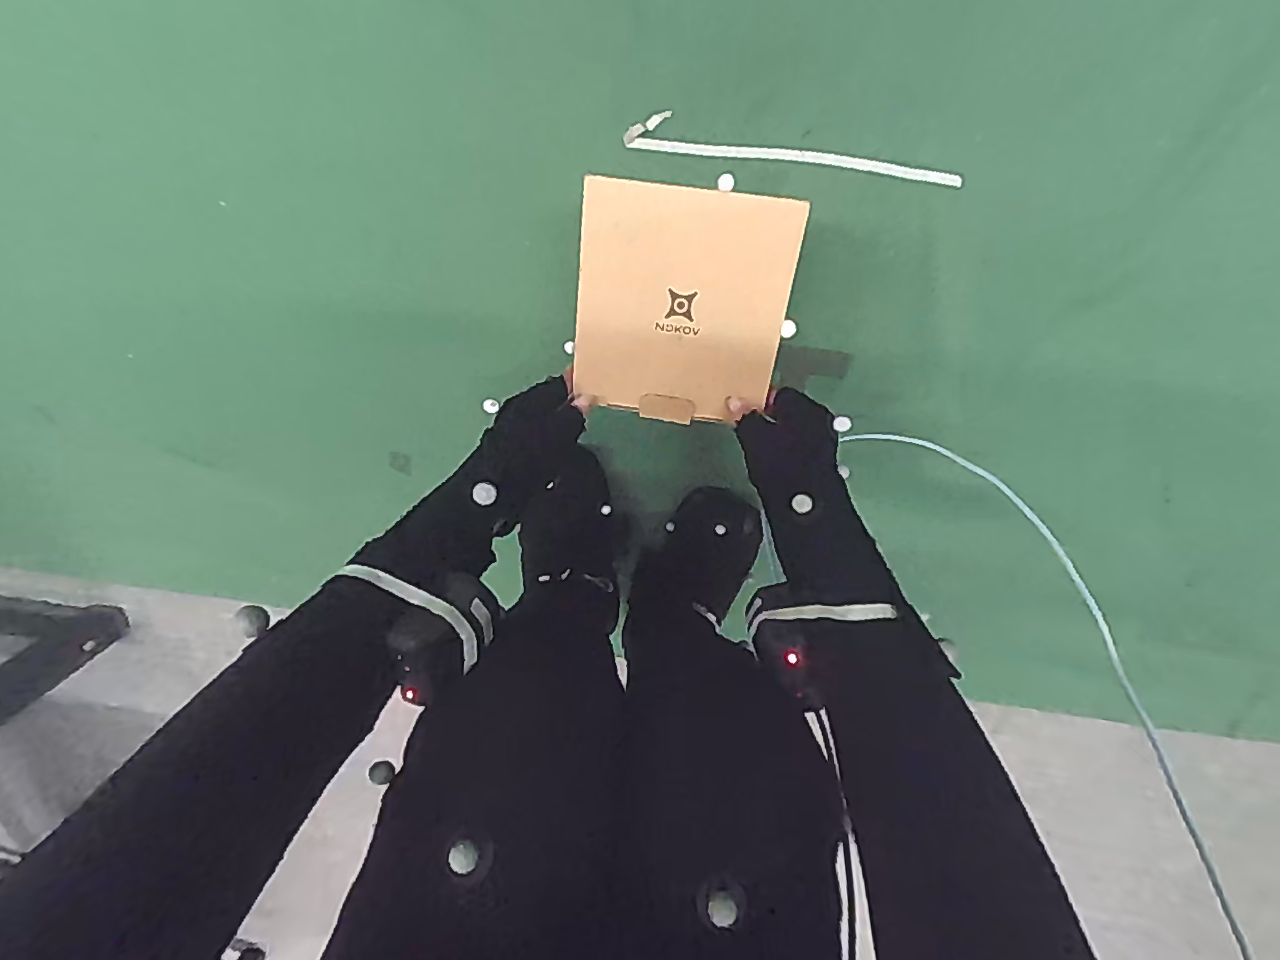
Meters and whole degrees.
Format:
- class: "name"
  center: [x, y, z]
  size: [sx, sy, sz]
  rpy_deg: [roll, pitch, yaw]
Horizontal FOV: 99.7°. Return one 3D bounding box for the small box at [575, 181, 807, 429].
- class: "small box"
  center: [0.040, -0.166, 0.505]
  size: [0.168, 0.176, 0.179]
  rpy_deg: [8, 116, 2]
